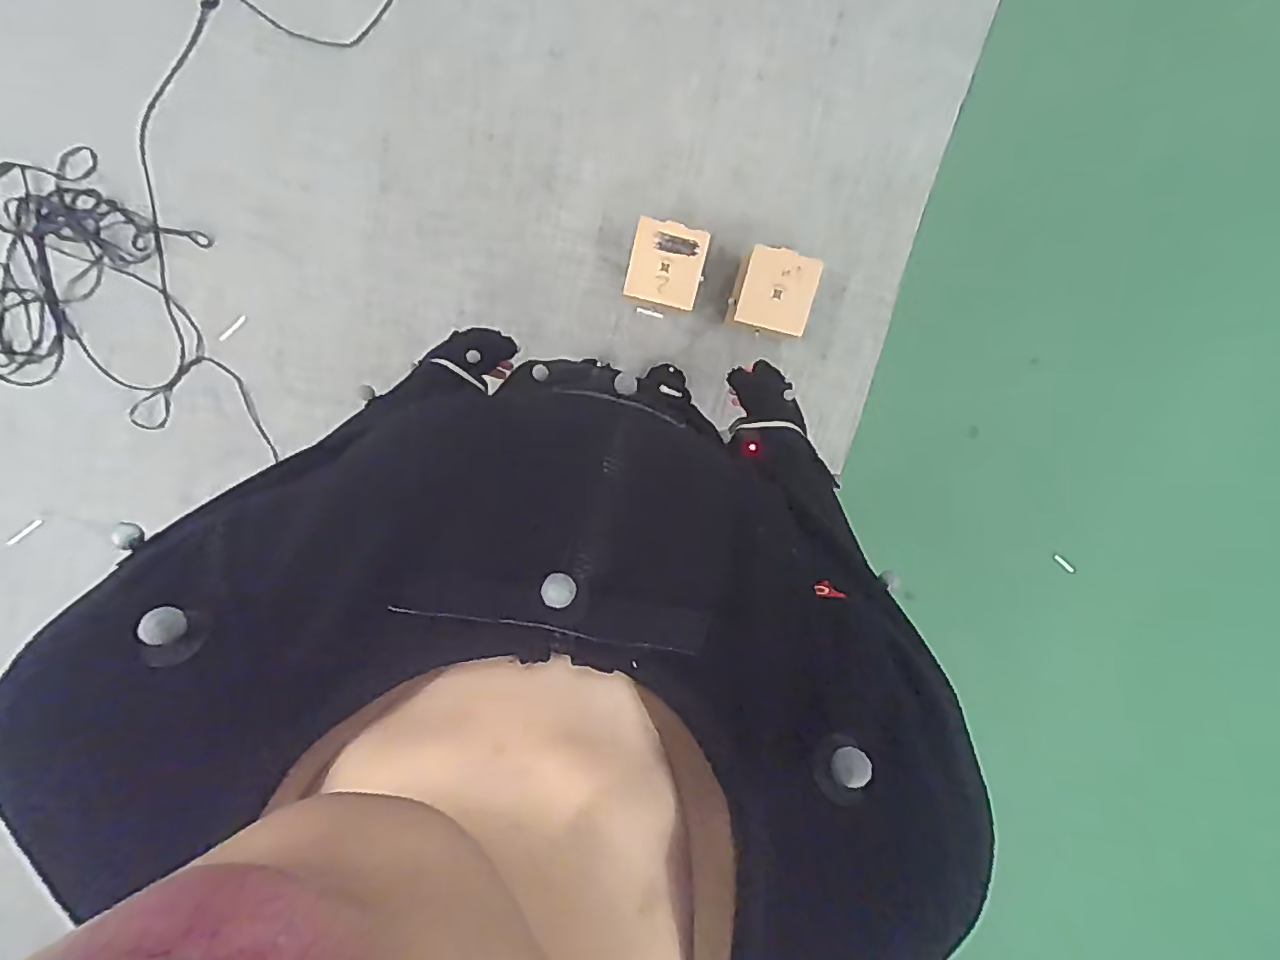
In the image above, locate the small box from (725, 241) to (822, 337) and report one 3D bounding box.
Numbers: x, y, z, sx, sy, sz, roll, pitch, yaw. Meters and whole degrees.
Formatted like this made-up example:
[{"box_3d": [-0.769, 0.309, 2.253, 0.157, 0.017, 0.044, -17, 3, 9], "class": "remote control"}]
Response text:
[{"box_3d": [0.309, -0.448, 1.299, 0.168, 0.176, 0.179, 14, 102, -3], "class": "small box"}]
